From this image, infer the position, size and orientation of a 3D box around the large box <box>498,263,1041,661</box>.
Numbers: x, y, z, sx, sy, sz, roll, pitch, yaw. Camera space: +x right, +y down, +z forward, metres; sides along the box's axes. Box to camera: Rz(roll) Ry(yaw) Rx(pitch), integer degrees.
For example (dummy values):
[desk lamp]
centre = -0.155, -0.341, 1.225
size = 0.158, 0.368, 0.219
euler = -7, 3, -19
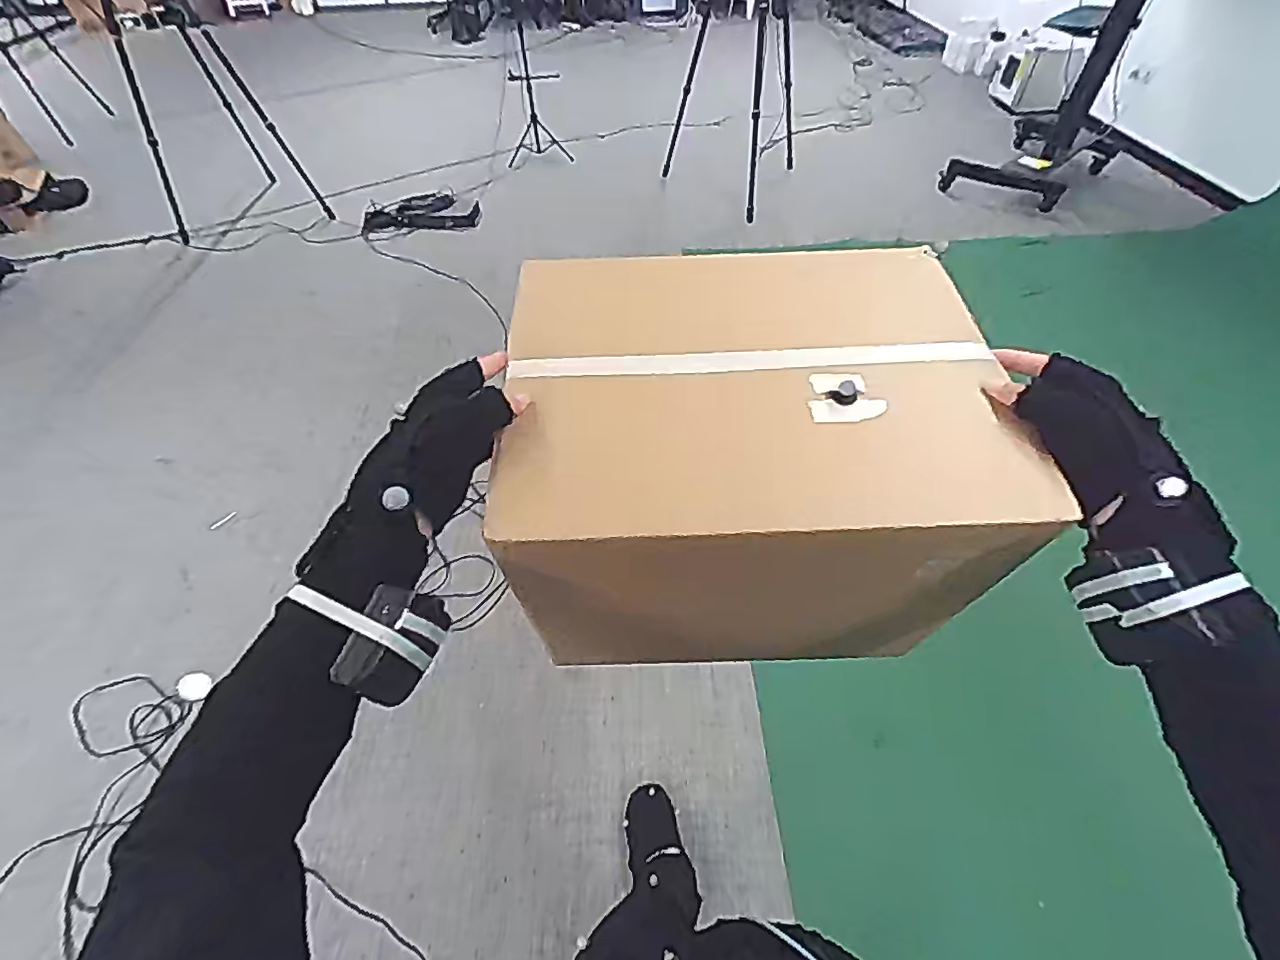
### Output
[large box]
centre = 0.088, -0.008, 0.593
size = 0.408, 0.320, 0.320
euler = -2, 56, -1
